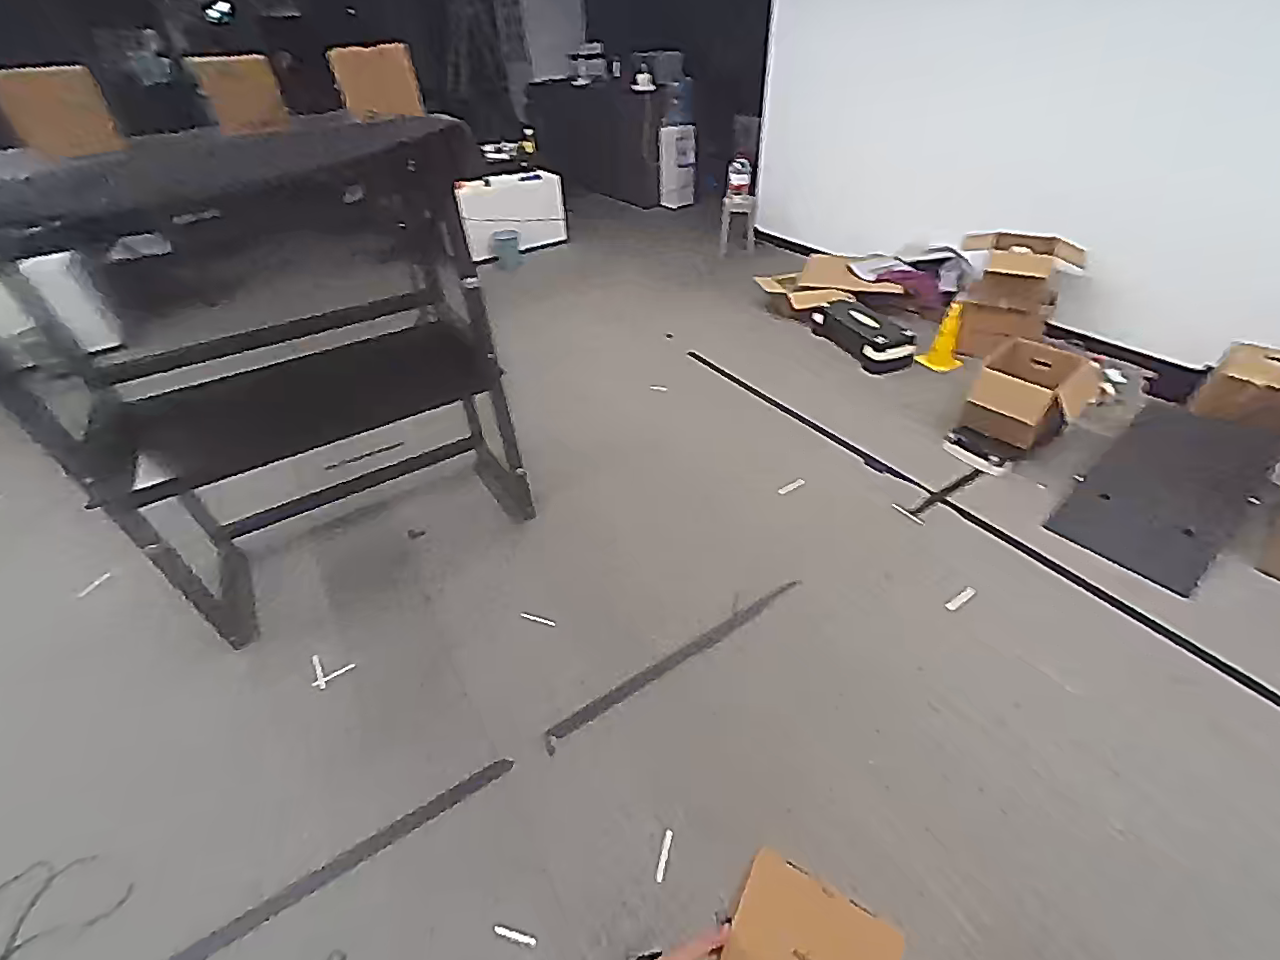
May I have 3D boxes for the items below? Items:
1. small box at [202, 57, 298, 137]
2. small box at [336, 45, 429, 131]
[{"bbox_3d":[-1.086,-1.068,1.509,0.168,0.176,0.179,-25,44,-24],"label":"small box"},{"bbox_3d":[-0.682,-1.040,1.439,0.168,0.176,0.179,-23,40,-21],"label":"small box"}]
